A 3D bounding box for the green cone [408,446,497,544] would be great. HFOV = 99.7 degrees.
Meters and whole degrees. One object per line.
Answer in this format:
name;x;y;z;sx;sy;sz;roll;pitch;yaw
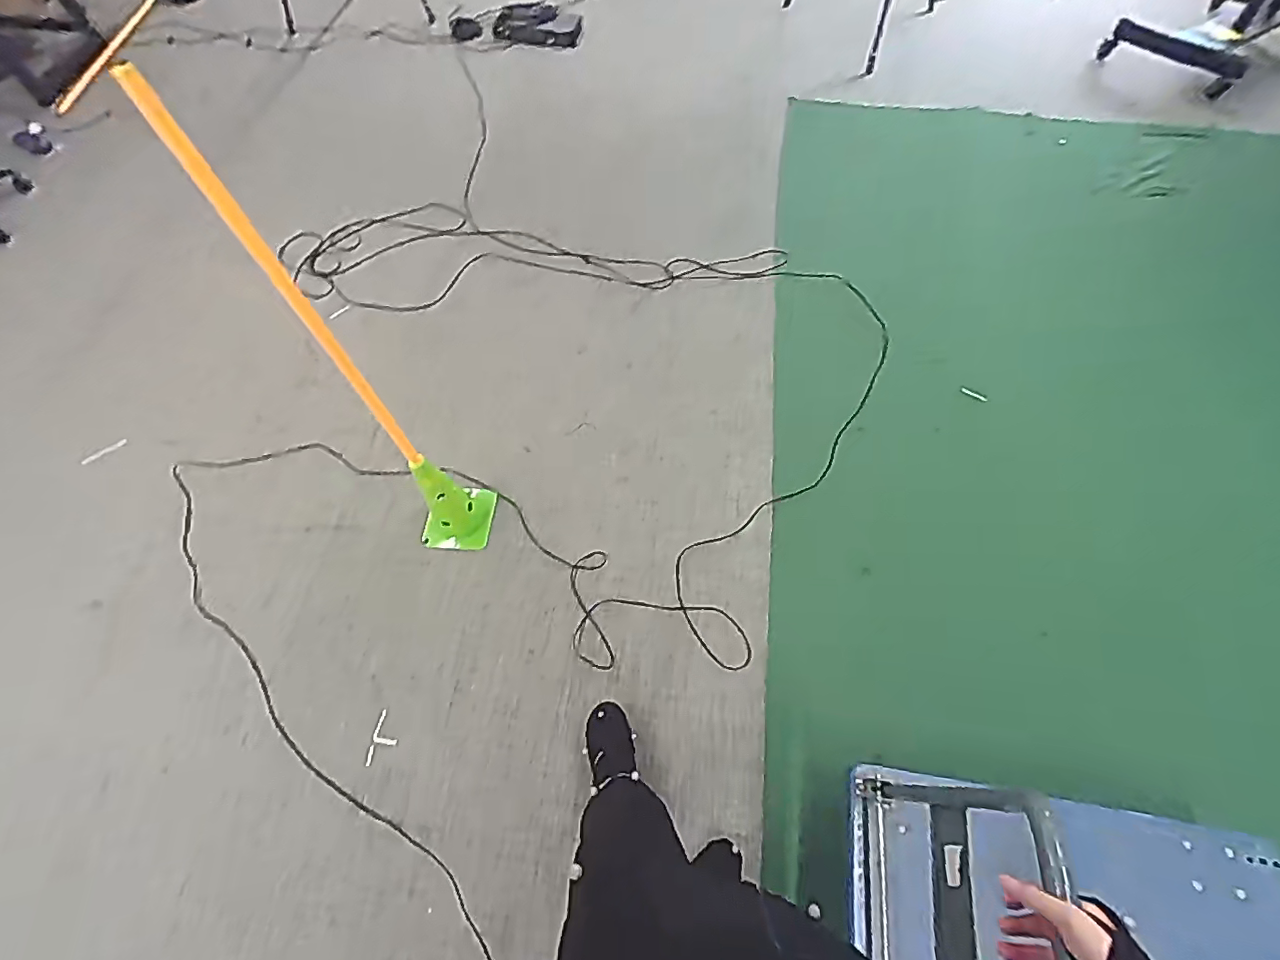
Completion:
green cone;-0.560;0.021;1.522;0.200;0.368;0.202;3;61;3
